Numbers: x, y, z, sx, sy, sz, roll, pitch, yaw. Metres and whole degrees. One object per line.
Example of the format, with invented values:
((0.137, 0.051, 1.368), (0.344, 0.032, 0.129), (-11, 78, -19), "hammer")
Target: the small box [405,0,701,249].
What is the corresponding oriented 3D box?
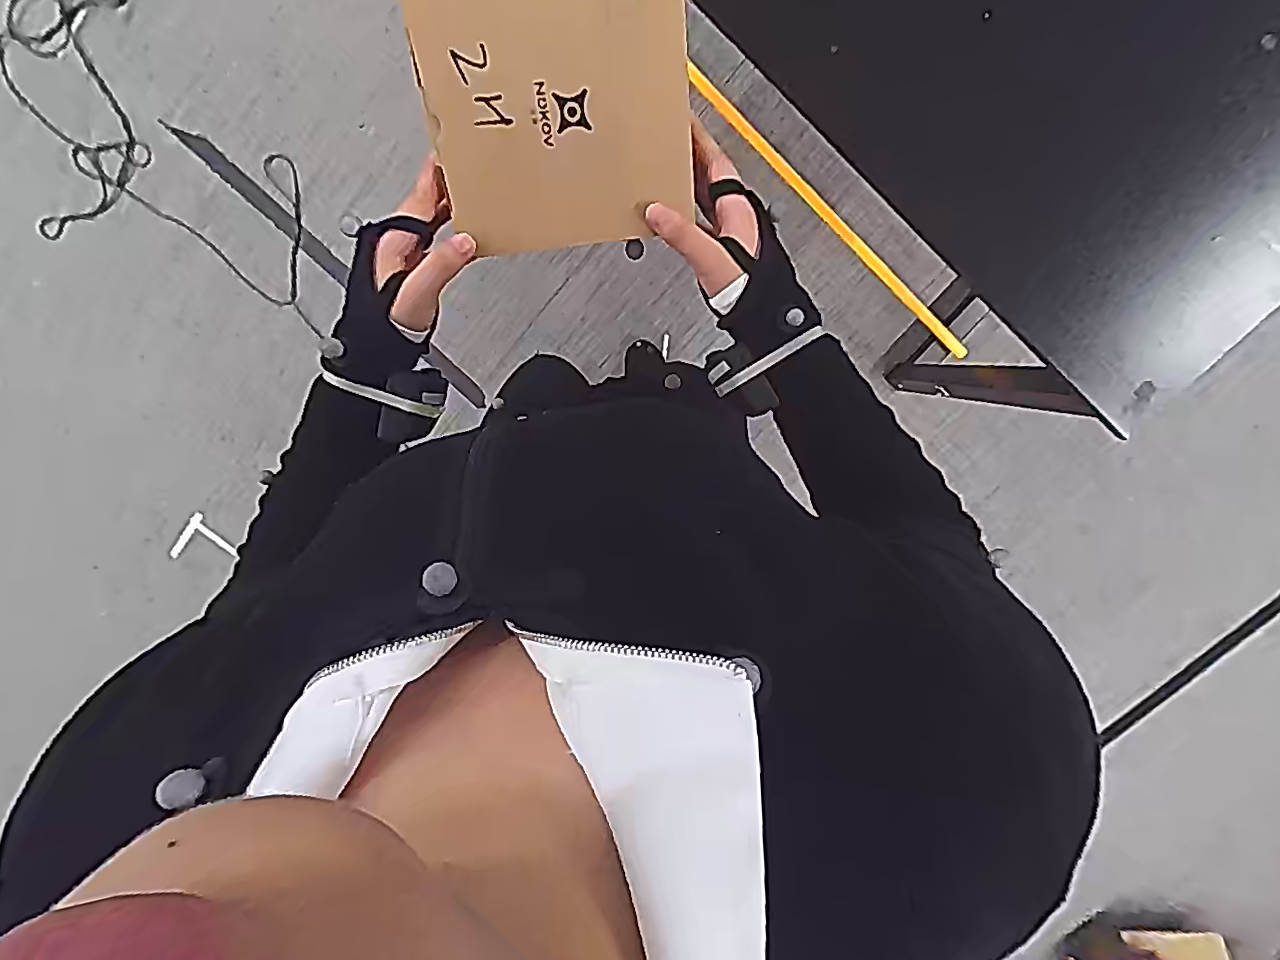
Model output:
((-0.054, -0.282, 0.419), (0.179, 0.176, 0.168), (-6, 118, 0), "small box")
